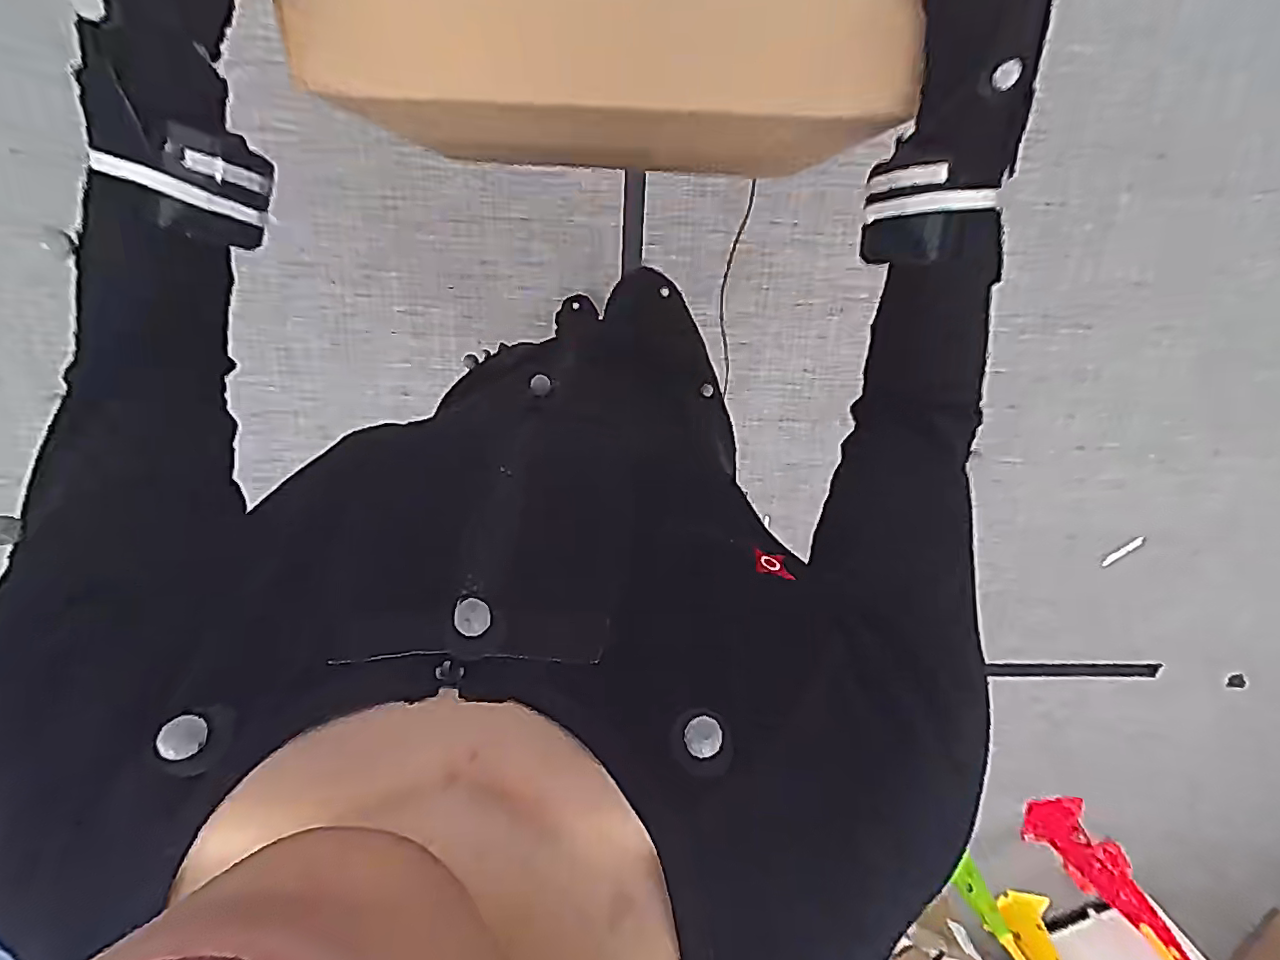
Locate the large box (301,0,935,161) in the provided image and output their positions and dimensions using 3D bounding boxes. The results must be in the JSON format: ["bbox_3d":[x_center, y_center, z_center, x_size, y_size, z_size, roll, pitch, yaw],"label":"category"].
[{"bbox_3d":[-0.014,-0.456,0.431,0.408,0.320,0.320,1,114,-2],"label":"large box"}]
